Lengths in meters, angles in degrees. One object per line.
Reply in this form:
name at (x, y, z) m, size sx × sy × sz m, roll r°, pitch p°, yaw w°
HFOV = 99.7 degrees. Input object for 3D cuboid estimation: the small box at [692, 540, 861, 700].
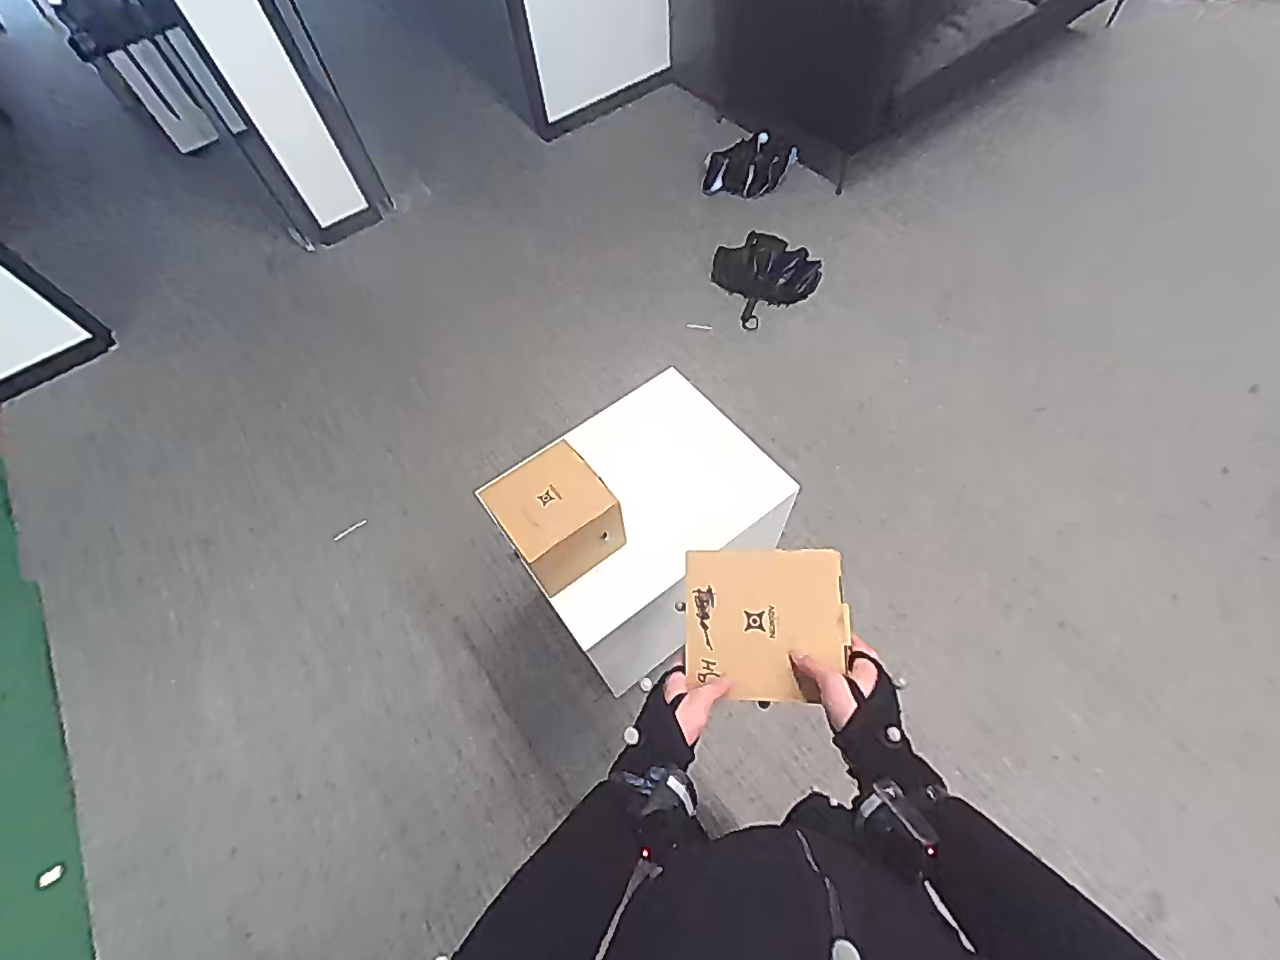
small box at (0.155, 0.171, 0.662) m, size 0.179 × 0.176 × 0.168 m, roll 0°, pitch 72°, yaw 8°

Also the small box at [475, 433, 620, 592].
small box at (-0.148, 0.059, 0.922) m, size 0.179 × 0.176 × 0.168 m, roll -35°, pitch 64°, yaw -18°
